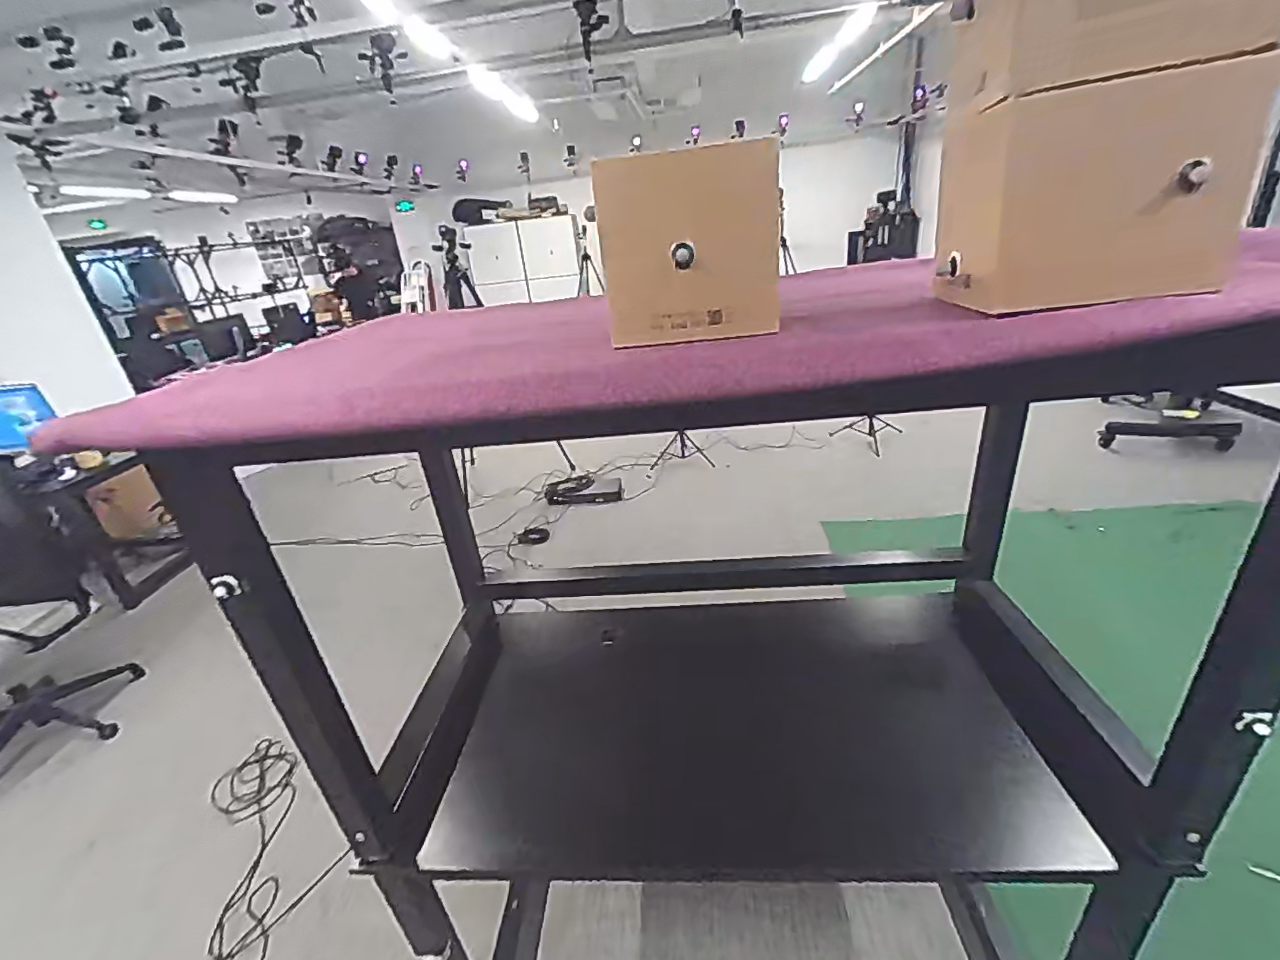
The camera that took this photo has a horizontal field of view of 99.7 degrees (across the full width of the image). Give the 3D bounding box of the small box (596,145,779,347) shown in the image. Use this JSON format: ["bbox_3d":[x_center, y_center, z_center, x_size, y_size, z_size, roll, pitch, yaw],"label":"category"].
[{"bbox_3d":[0.055,-0.241,0.581,0.168,0.176,0.179,-3,24,6],"label":"small box"}]

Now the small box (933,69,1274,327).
[{"bbox_3d":[0.398,-0.247,0.508,0.179,0.176,0.168,-4,22,11],"label":"small box"}]
